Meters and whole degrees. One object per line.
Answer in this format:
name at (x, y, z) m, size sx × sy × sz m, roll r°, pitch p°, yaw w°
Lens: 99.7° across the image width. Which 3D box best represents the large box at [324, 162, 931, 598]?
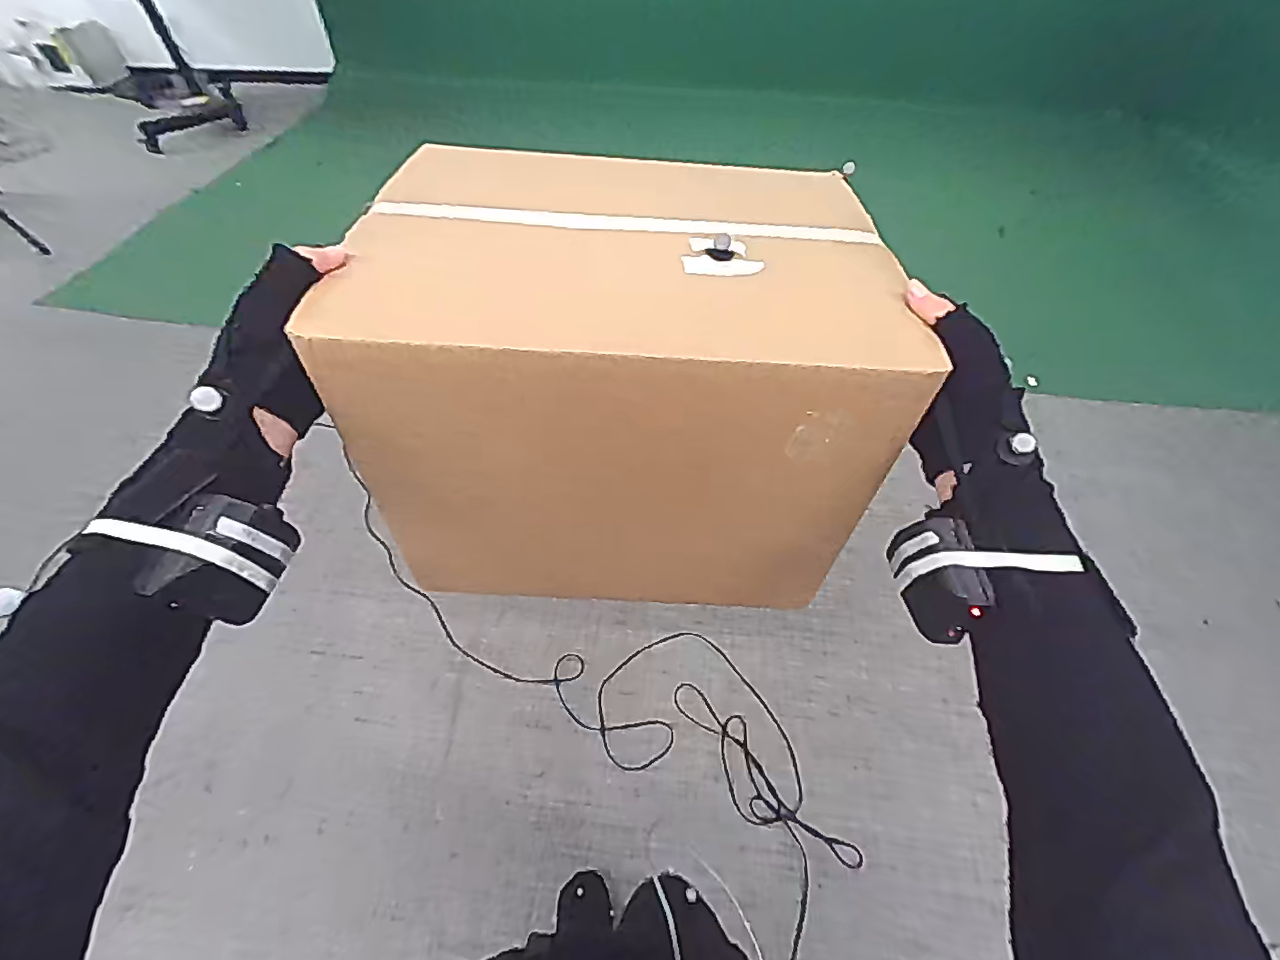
large box at (-0.014, -0.091, 0.555) m, size 0.408 × 0.320 × 0.320 m, roll 4°, pitch 50°, yaw -3°
